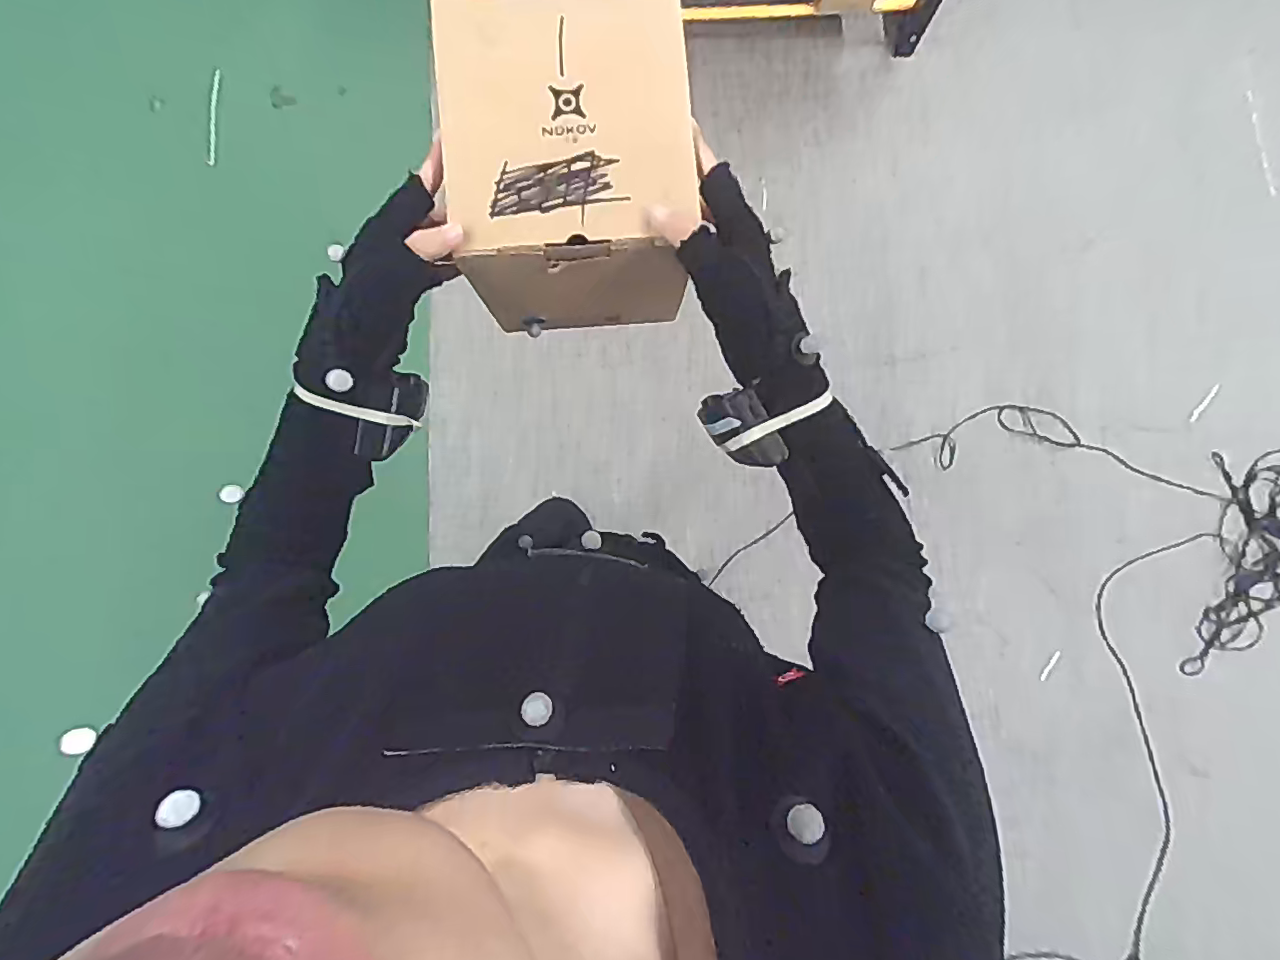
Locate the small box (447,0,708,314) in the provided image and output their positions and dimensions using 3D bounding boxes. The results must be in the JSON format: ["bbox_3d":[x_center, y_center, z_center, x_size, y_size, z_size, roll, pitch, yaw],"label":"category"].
[{"bbox_3d":[-0.044,-0.243,0.436,0.168,0.176,0.179,-5,87,-3],"label":"small box"}]
